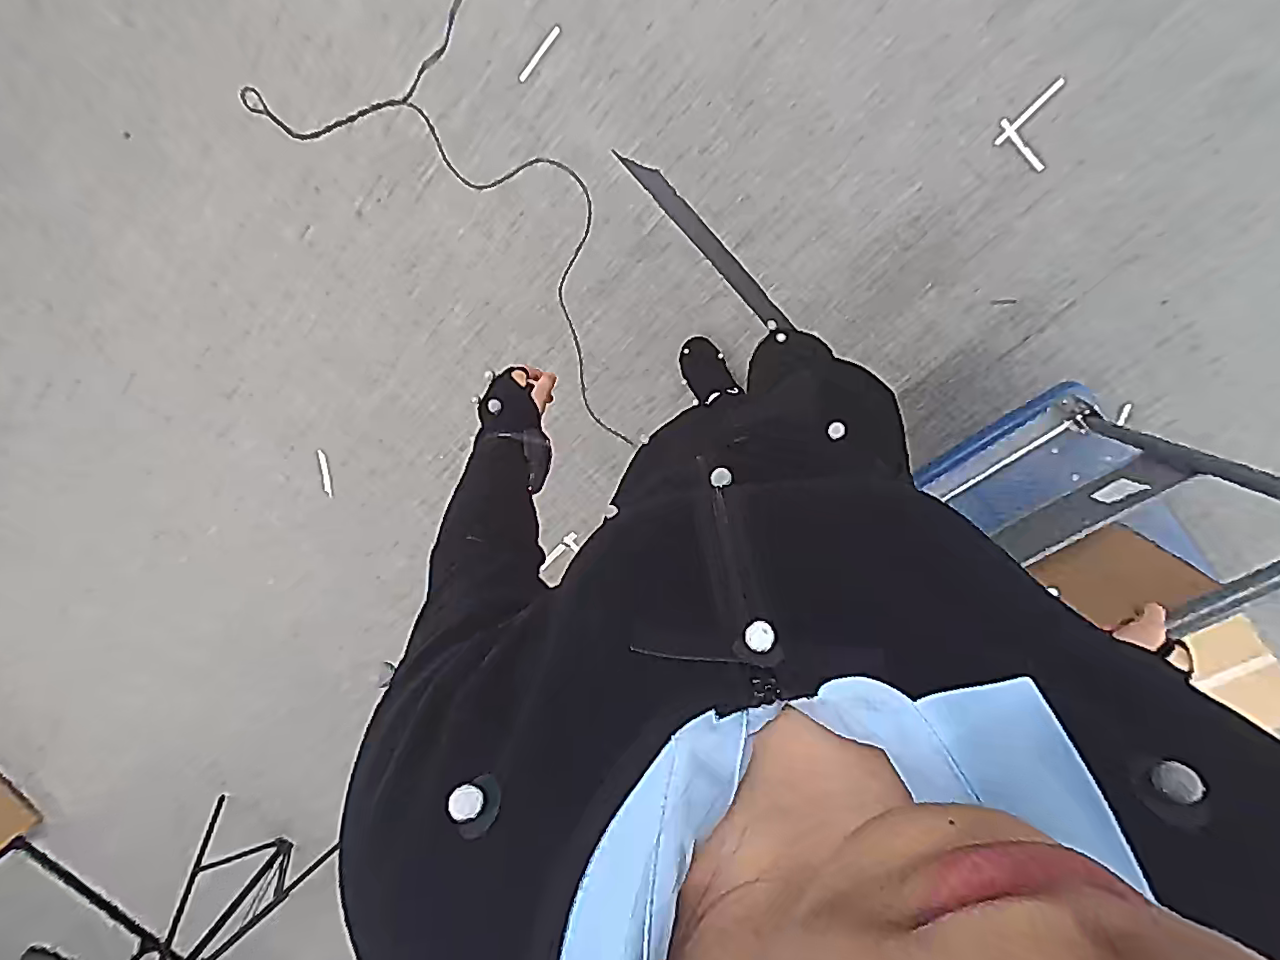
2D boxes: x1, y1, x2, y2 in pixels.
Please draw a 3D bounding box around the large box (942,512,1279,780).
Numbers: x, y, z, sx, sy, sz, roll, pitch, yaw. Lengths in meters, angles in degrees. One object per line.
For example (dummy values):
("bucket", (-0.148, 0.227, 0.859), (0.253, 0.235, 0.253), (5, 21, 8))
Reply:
("large box", (0.960, 0.339, 1.158), (0.408, 0.320, 0.320), (-37, 99, 19))
